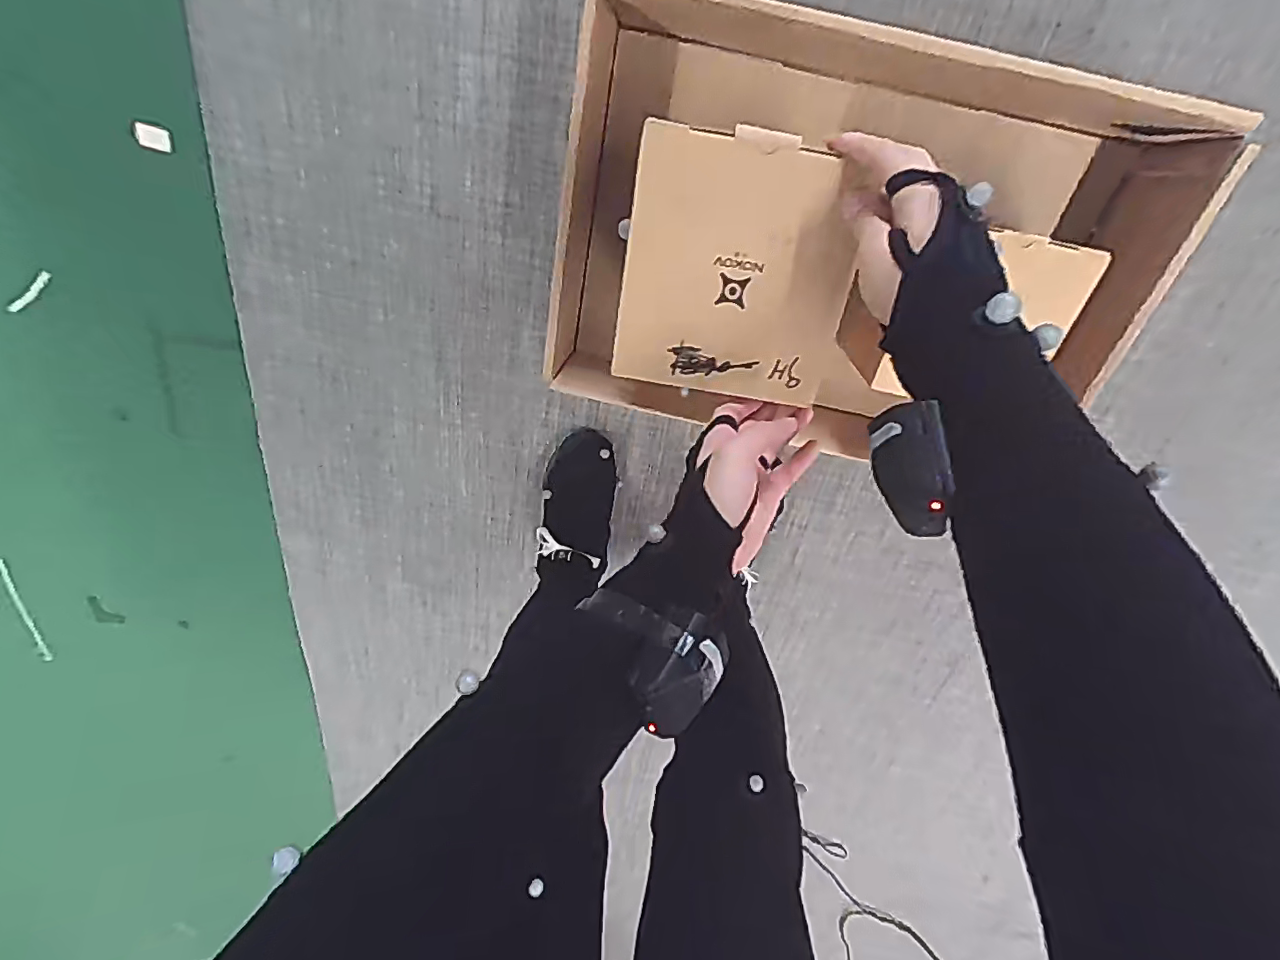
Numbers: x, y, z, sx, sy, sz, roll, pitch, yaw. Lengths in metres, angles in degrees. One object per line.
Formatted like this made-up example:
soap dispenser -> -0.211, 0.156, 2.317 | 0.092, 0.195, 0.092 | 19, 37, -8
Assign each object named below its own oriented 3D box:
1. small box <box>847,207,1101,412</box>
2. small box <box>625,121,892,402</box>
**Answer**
small box -> 0.359, -0.205, 0.630 | 0.168, 0.176, 0.179 | 12, 120, 0
small box -> 0.083, -0.188, 0.472 | 0.168, 0.176, 0.179 | 9, 118, -1
